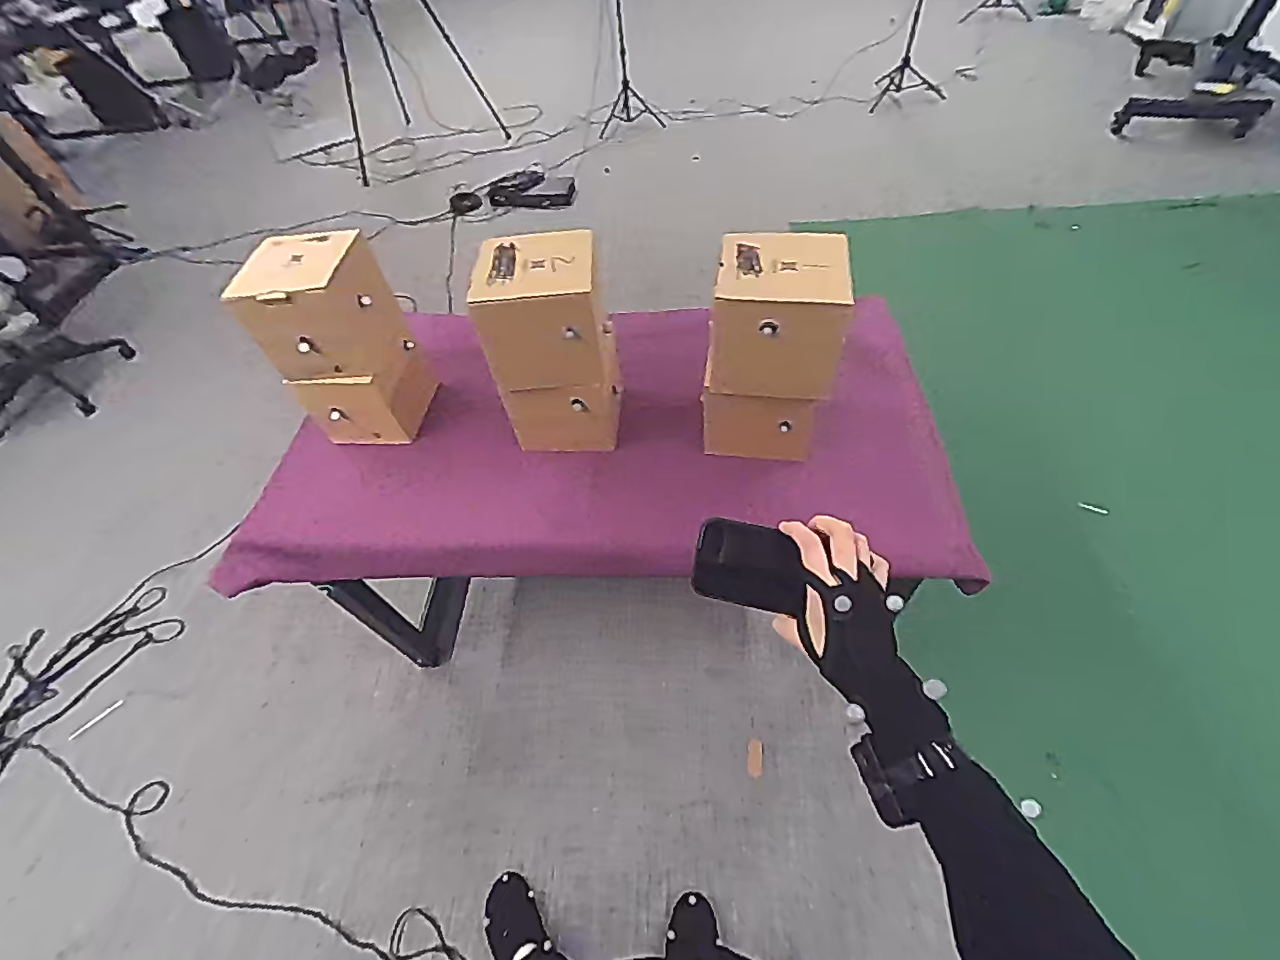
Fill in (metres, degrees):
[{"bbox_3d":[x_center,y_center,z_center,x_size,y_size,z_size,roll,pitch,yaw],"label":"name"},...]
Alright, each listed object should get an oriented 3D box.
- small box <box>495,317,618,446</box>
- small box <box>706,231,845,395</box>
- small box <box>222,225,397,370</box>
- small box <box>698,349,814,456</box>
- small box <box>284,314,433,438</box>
[{"bbox_3d":[-0.139,-0.174,0.981,0.179,0.176,0.168,1,53,7],"label":"small box"},{"bbox_3d":[0.191,-0.242,0.794,0.179,0.176,0.168,6,54,10],"label":"small box"},{"bbox_3d":[-0.538,-0.300,0.914,0.168,0.176,0.179,-2,54,3],"label":"small box"},{"bbox_3d":[0.198,-0.157,0.935,0.179,0.176,0.168,6,54,11],"label":"small box"},{"bbox_3d":[-0.525,-0.196,1.041,0.168,0.176,0.179,1,54,7],"label":"small box"}]
